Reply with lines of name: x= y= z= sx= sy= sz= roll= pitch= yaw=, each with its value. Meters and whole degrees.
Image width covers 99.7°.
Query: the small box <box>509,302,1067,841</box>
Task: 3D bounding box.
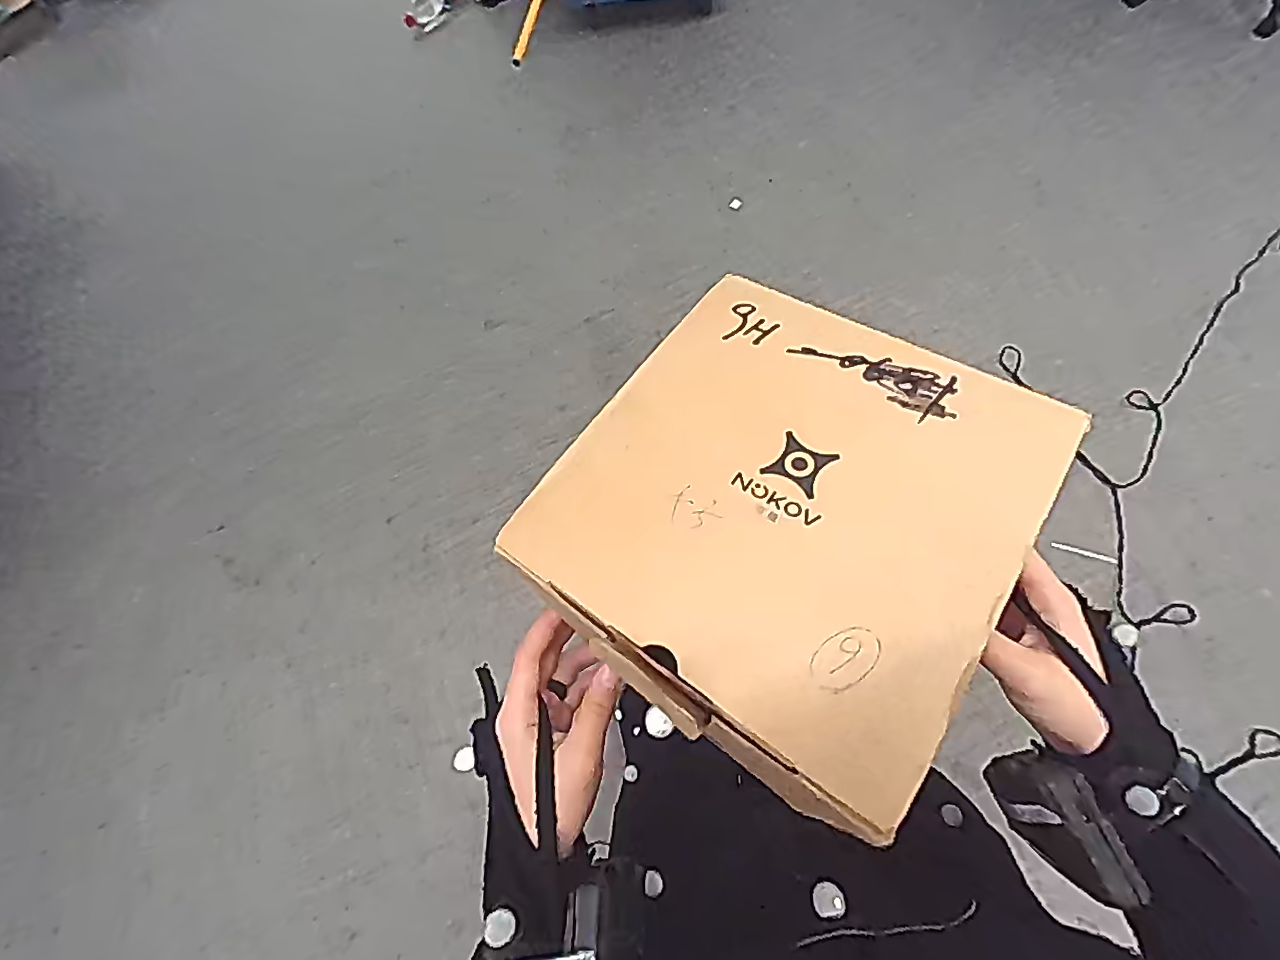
small box: x=0.069 y=0.048 z=0.291 sx=0.168 sy=0.176 sz=0.179 roll=31 pitch=70 yaw=22
